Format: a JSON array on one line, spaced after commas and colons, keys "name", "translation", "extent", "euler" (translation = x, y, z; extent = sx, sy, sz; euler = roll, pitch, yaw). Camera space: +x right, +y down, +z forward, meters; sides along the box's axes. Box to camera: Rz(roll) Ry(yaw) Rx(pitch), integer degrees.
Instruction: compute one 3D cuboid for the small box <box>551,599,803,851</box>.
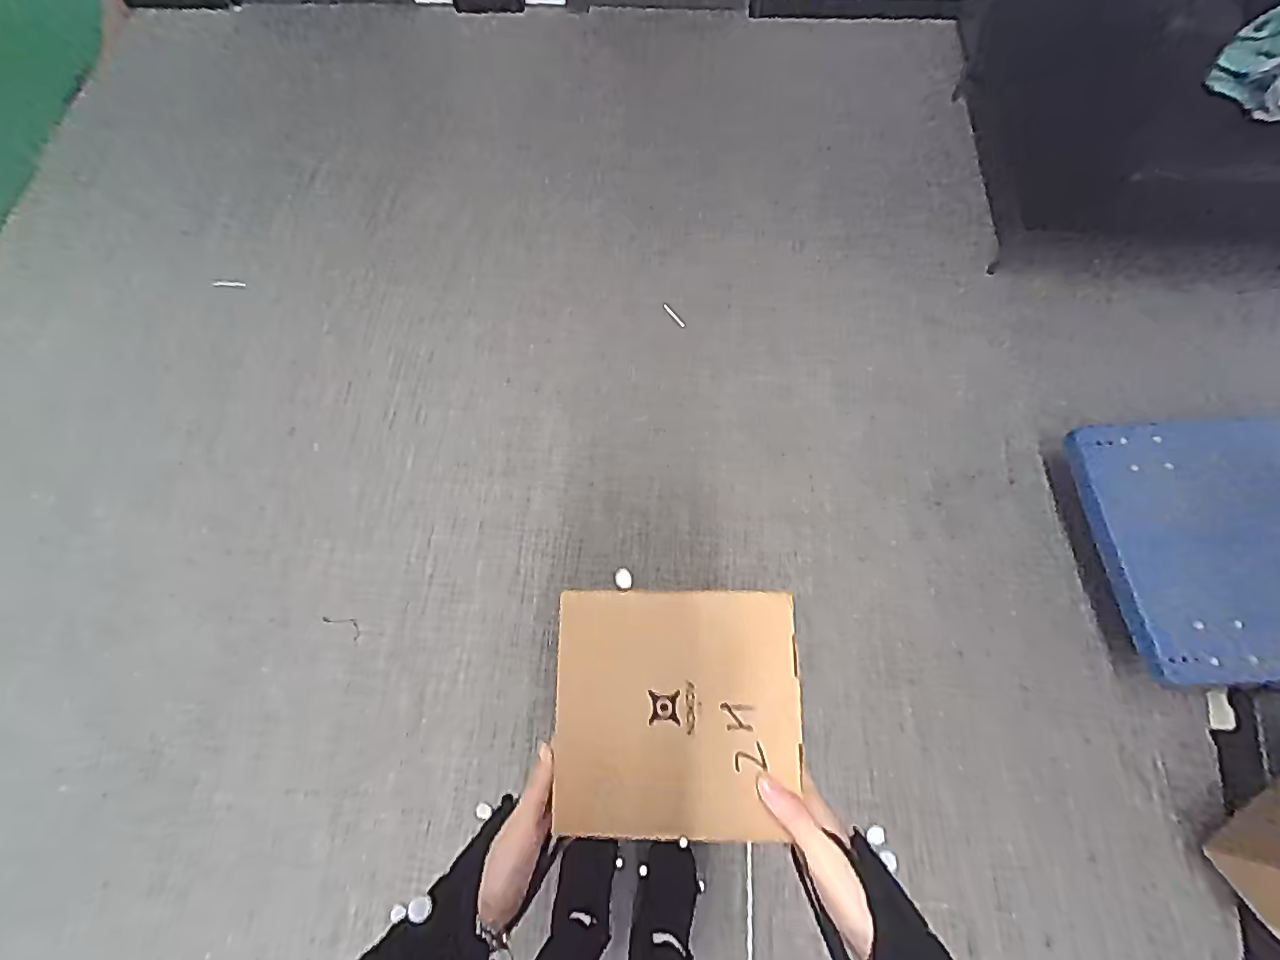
[{"name": "small box", "translation": [0.030, 0.190, 0.466], "extent": [0.179, 0.176, 0.168], "euler": [0, 77, 2]}]
